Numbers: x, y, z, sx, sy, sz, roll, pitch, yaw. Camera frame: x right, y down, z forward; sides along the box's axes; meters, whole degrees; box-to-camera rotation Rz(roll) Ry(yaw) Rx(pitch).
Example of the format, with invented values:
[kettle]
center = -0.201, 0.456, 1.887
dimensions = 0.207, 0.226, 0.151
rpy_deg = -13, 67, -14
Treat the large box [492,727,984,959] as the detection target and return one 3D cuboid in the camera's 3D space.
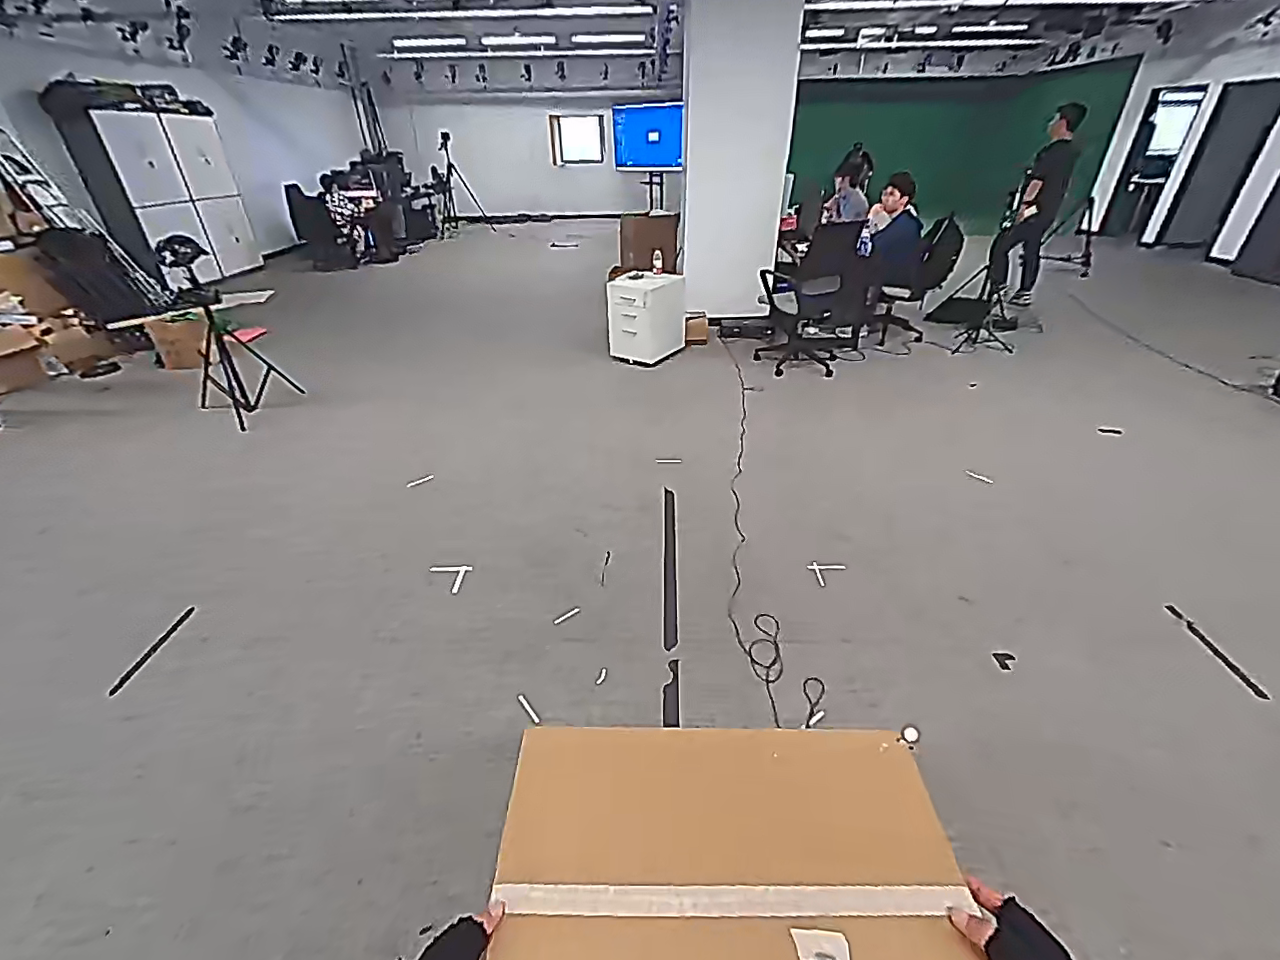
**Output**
[large box]
center = 0.077, 0.483, 0.553
dimensions = 0.408, 0.320, 0.320
rpy_deg = 1, 34, 1
